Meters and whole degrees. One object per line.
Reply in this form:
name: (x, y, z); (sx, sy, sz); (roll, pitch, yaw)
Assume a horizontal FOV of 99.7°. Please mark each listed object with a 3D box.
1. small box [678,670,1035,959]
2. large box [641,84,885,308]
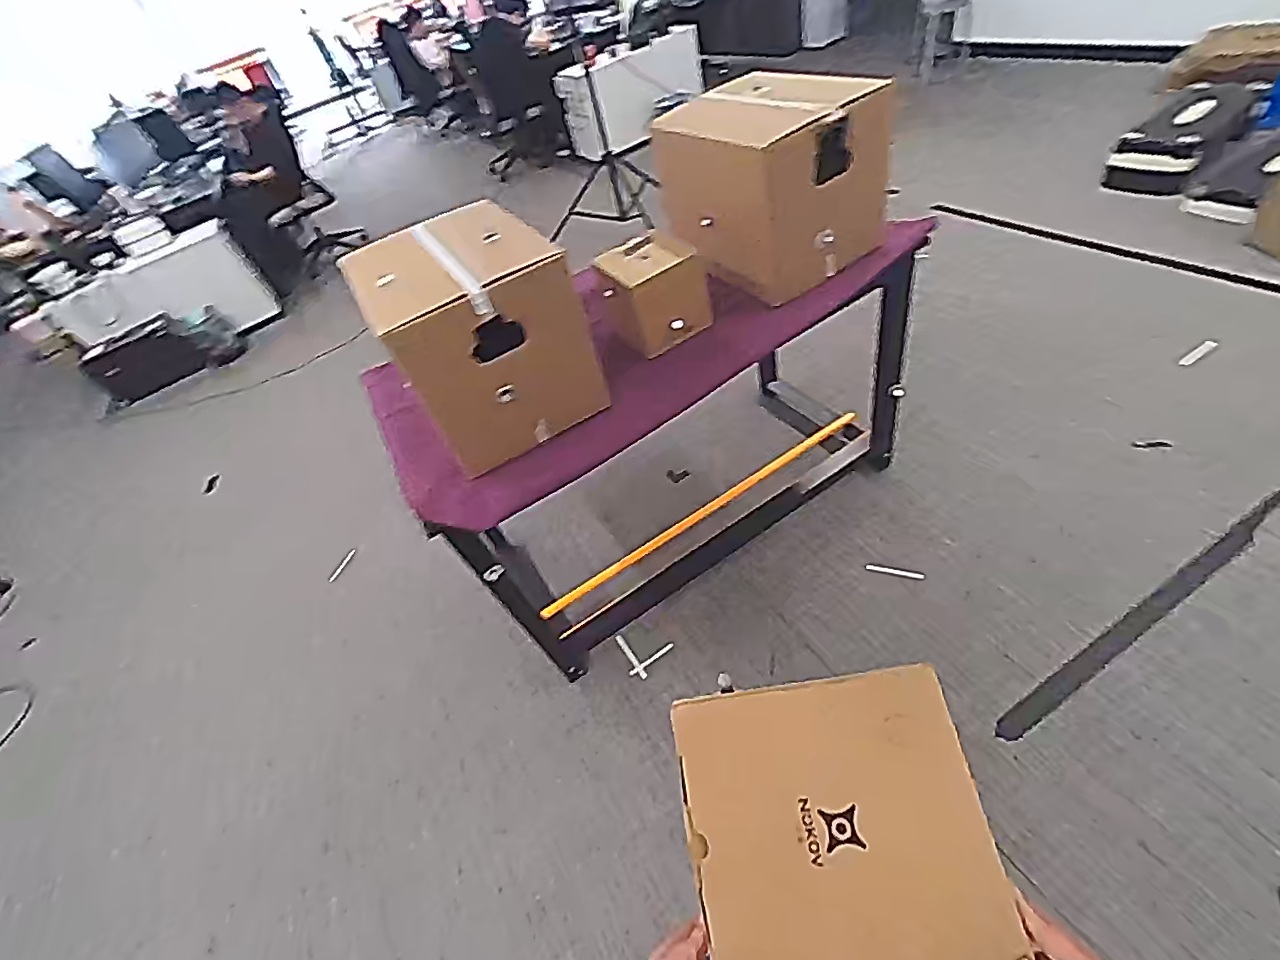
small box: (0.133, 0.238, 0.400); (0.179, 0.176, 0.168); (-12, 66, 7)
large box: (0.267, -0.633, 1.192); (0.320, 0.320, 0.408); (-32, 45, -12)
